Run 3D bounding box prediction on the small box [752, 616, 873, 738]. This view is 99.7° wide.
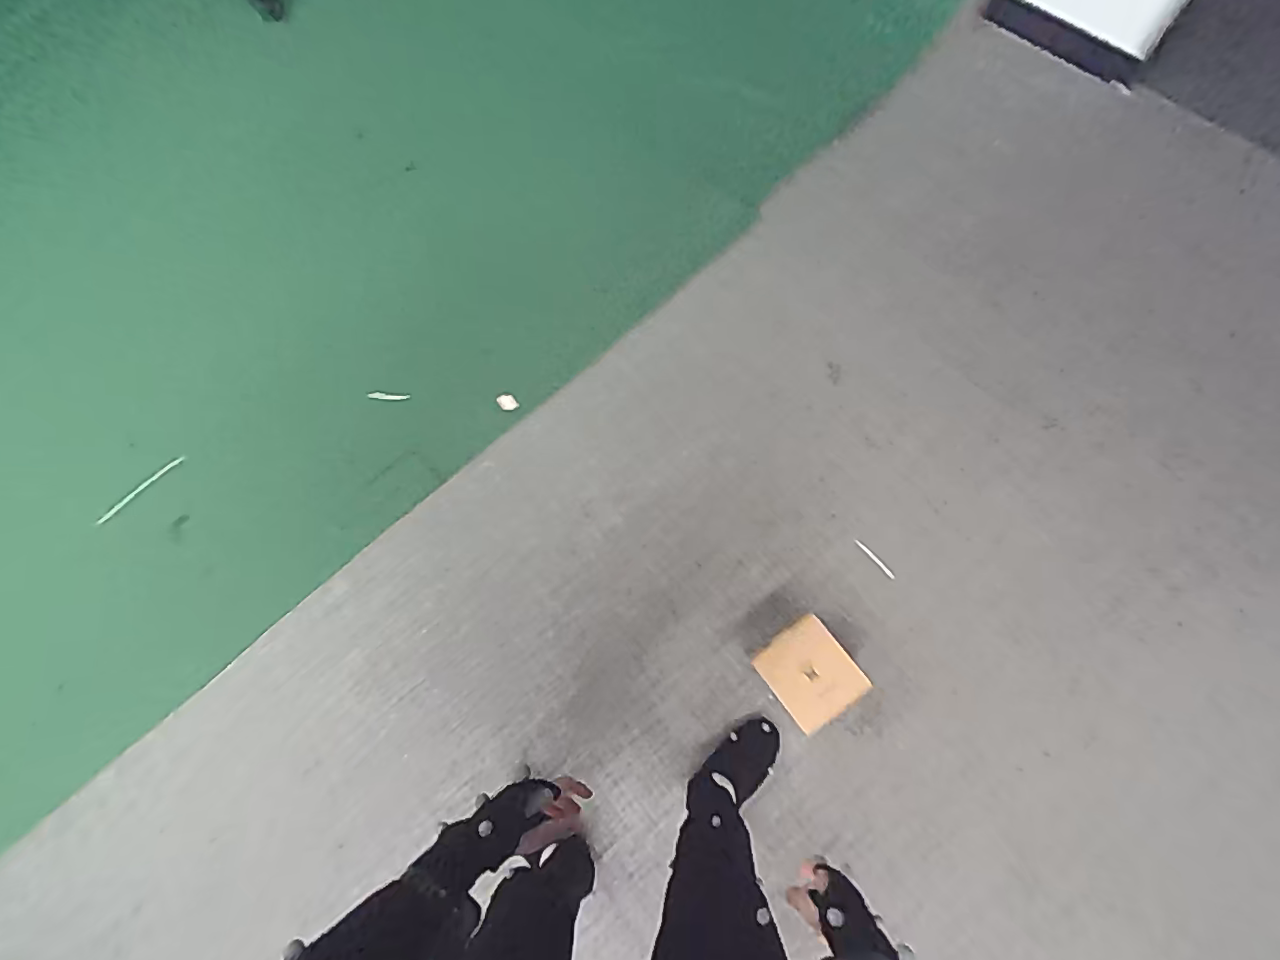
[{"bbox_3d":[0.350,0.410,1.143,0.168,0.176,0.179,-36,72,-1],"label":"small box"}]
